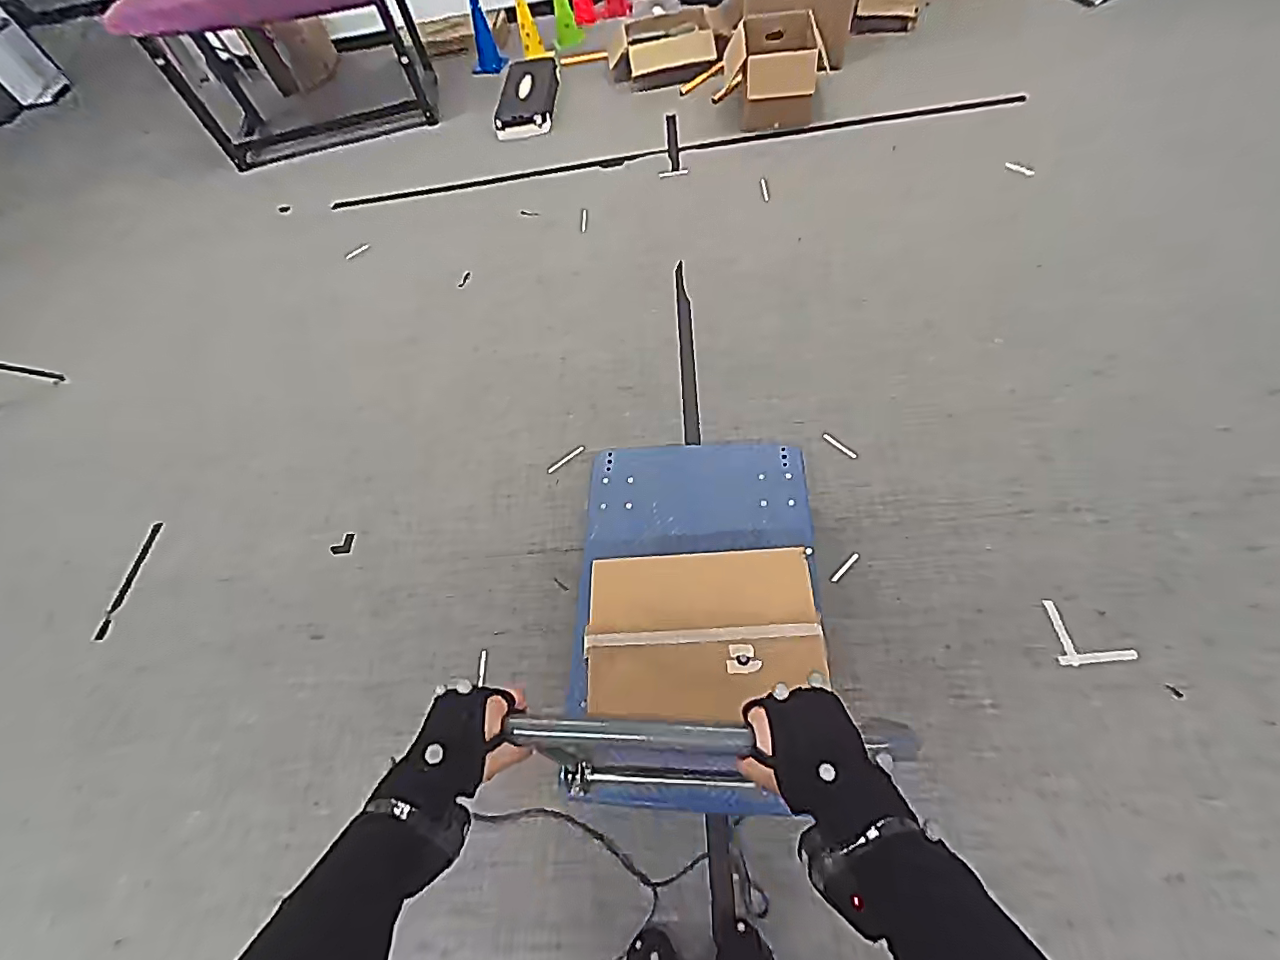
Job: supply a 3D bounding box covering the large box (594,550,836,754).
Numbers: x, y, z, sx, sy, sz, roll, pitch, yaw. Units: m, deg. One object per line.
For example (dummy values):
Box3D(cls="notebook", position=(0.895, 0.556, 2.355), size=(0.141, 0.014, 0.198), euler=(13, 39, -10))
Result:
Box3D(cls="large box", position=(0.131, 0.357, 1.086), size=(0.408, 0.320, 0.320), euler=(-4, 59, 5))
